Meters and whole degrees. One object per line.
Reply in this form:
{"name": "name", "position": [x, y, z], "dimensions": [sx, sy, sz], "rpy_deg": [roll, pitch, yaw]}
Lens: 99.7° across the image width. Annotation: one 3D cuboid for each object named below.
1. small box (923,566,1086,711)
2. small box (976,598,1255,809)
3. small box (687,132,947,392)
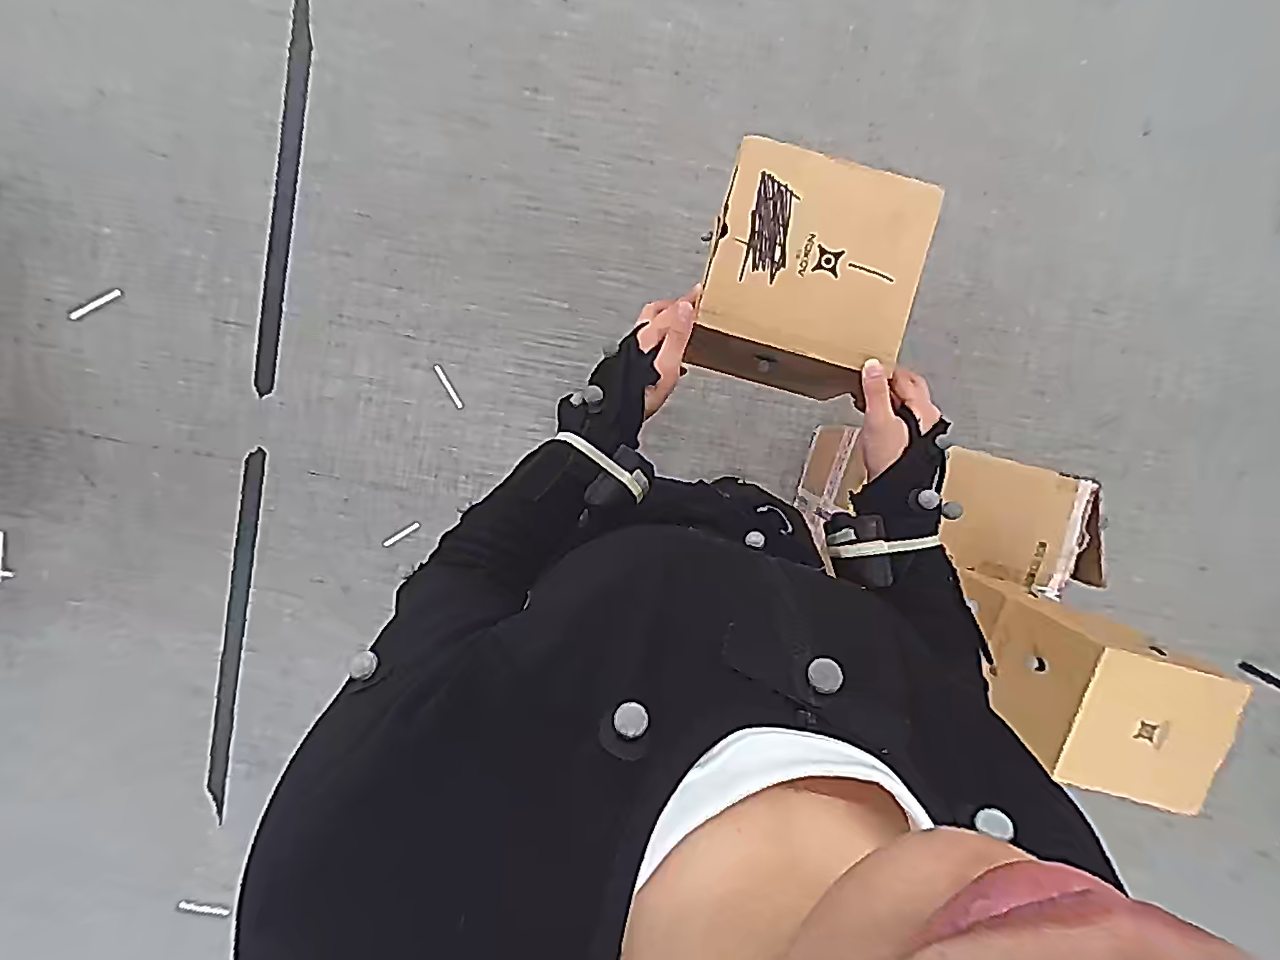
{"name": "small box", "position": [0.577, 0.253, 0.841], "dimensions": [0.168, 0.176, 0.179], "rpy_deg": [17, 98, -1]}
{"name": "small box", "position": [0.570, 0.263, 0.678], "dimensions": [0.179, 0.176, 0.168], "rpy_deg": [15, 98, -2]}
{"name": "small box", "position": [0.151, -0.191, 0.530], "dimensions": [0.179, 0.176, 0.168], "rpy_deg": [15, 93, 0]}
